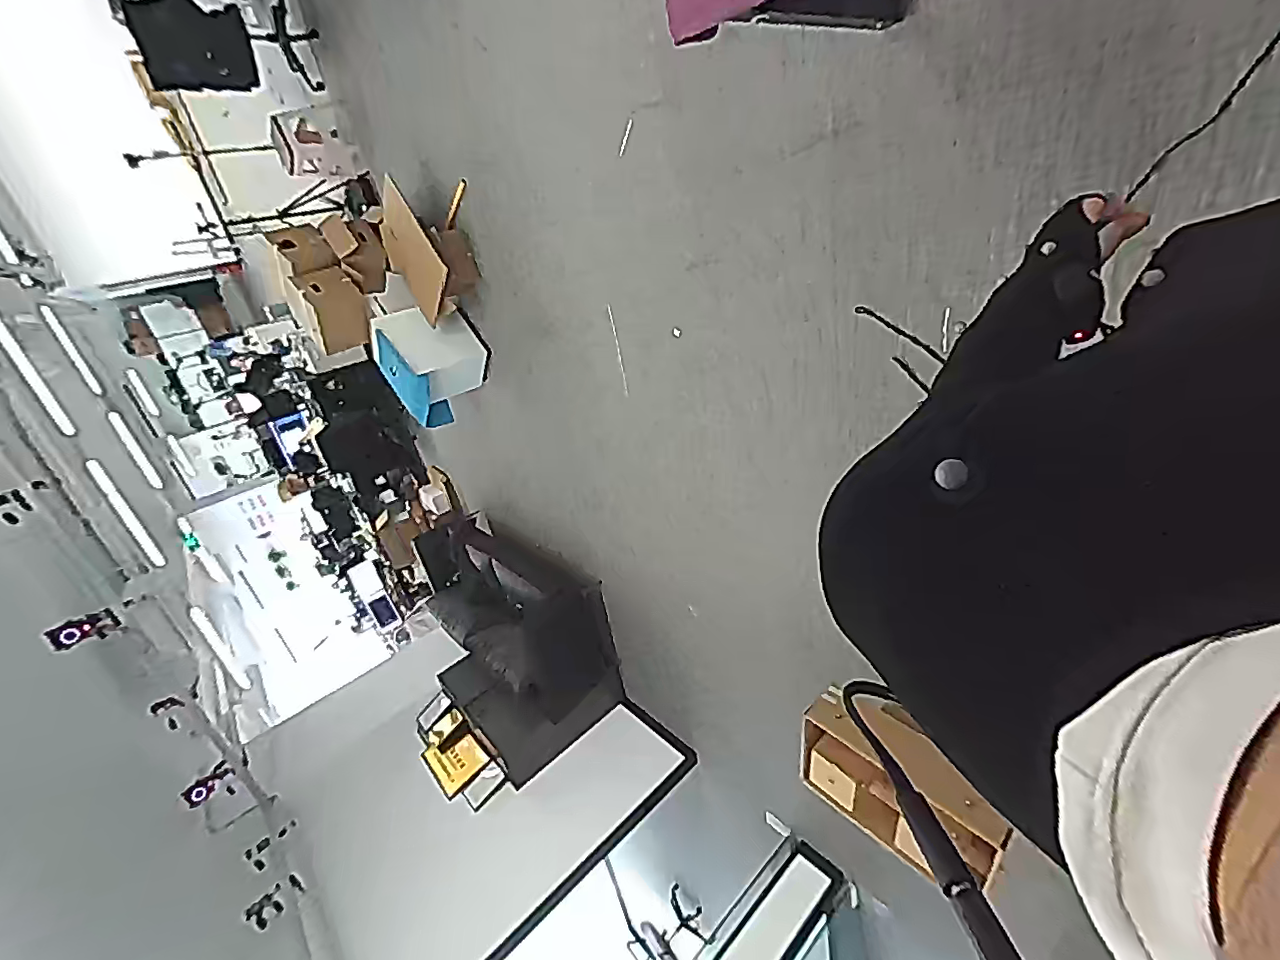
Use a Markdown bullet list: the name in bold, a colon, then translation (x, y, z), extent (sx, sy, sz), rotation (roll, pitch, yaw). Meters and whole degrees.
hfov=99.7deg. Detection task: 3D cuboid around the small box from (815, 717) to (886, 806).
- **small box**: translation (0.733, 0.976, 1.883), extent (0.168, 0.176, 0.179), rotation (26, 133, 44)
